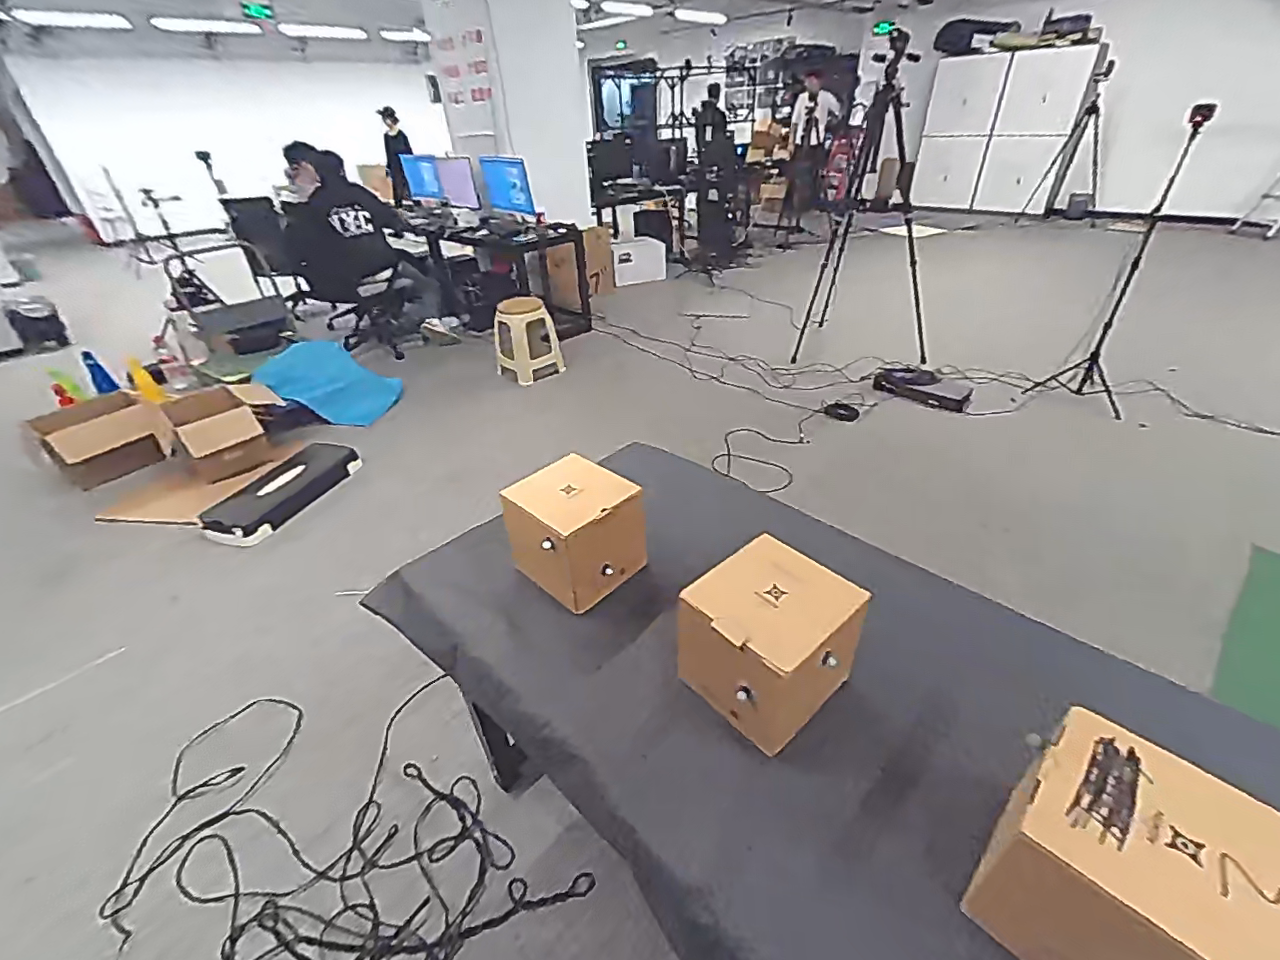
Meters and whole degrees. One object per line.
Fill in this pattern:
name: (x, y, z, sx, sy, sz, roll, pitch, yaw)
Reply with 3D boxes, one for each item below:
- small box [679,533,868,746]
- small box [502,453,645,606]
small box: (0.170, 0.207, 0.716, 0.179, 0.176, 0.168, -27, 42, -33)
small box: (-0.108, 0.082, 0.923, 0.179, 0.176, 0.168, 27, 44, 35)
